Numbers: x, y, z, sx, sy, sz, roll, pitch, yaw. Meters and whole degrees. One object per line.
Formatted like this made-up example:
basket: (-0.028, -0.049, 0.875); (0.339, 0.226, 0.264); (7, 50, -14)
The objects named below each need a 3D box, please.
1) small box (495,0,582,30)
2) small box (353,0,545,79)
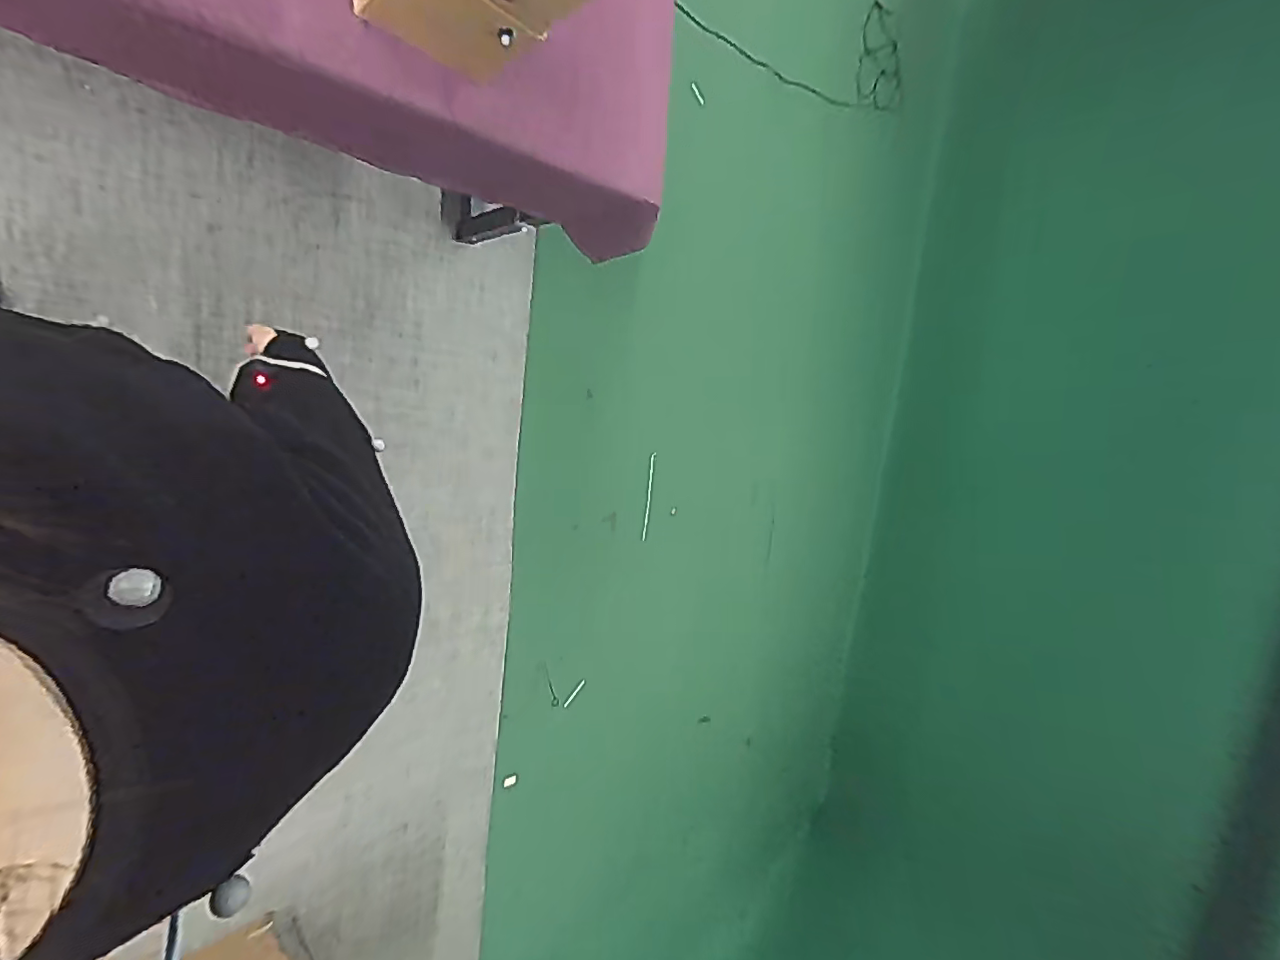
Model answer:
small box: (-0.111, -0.610, 0.537); (0.168, 0.176, 0.179); (1, 99, -46)
small box: (-0.229, -0.630, 0.652); (0.179, 0.176, 0.168); (-2, 101, -46)
